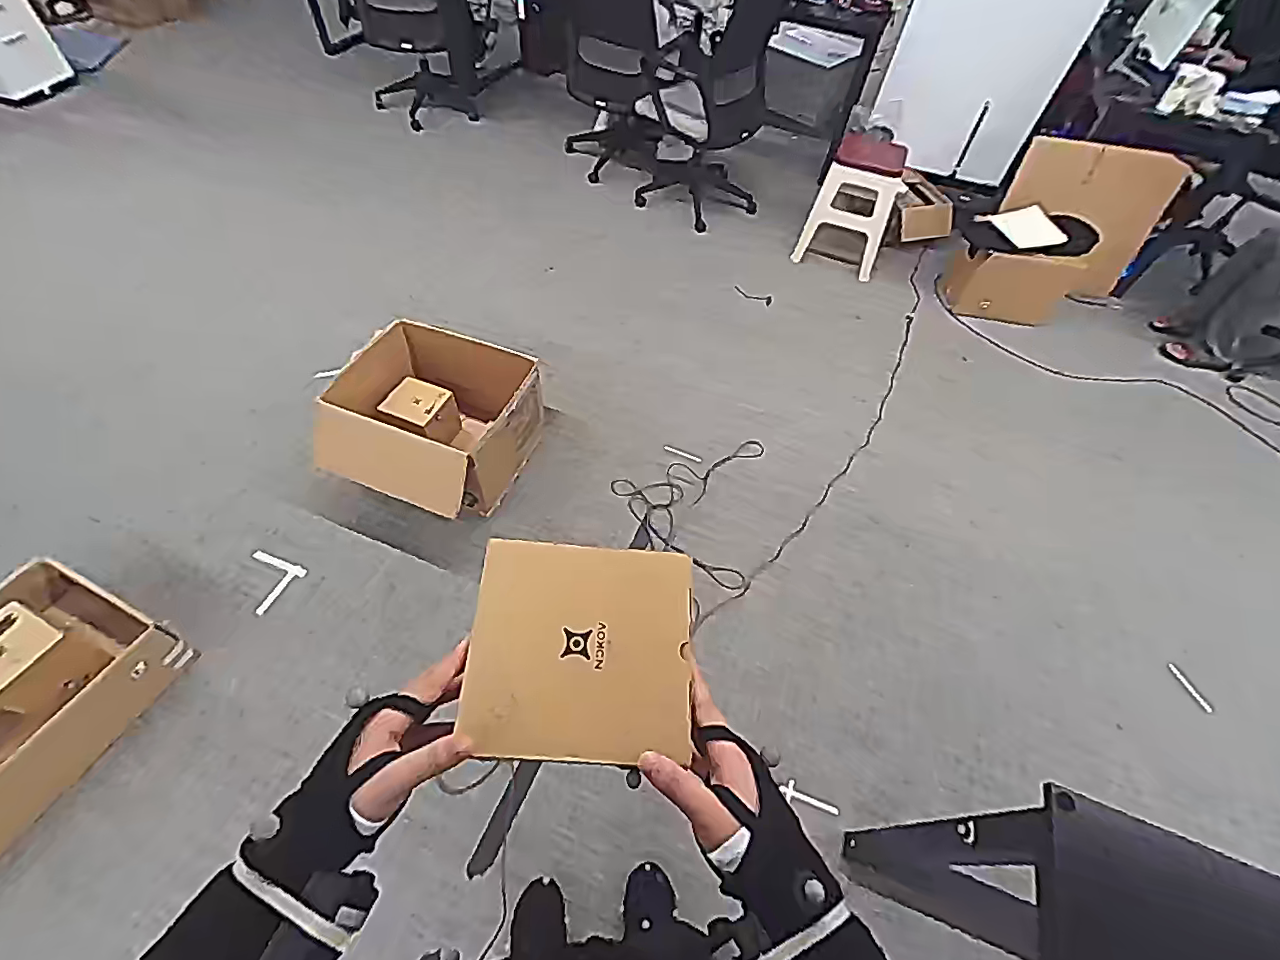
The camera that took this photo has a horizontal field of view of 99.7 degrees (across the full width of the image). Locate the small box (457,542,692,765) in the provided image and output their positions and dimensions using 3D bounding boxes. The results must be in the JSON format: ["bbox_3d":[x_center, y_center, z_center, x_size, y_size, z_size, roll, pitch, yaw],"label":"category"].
[{"bbox_3d":[-0.052,0.168,0.503,0.179,0.176,0.168,5,62,-5],"label":"small box"}]
